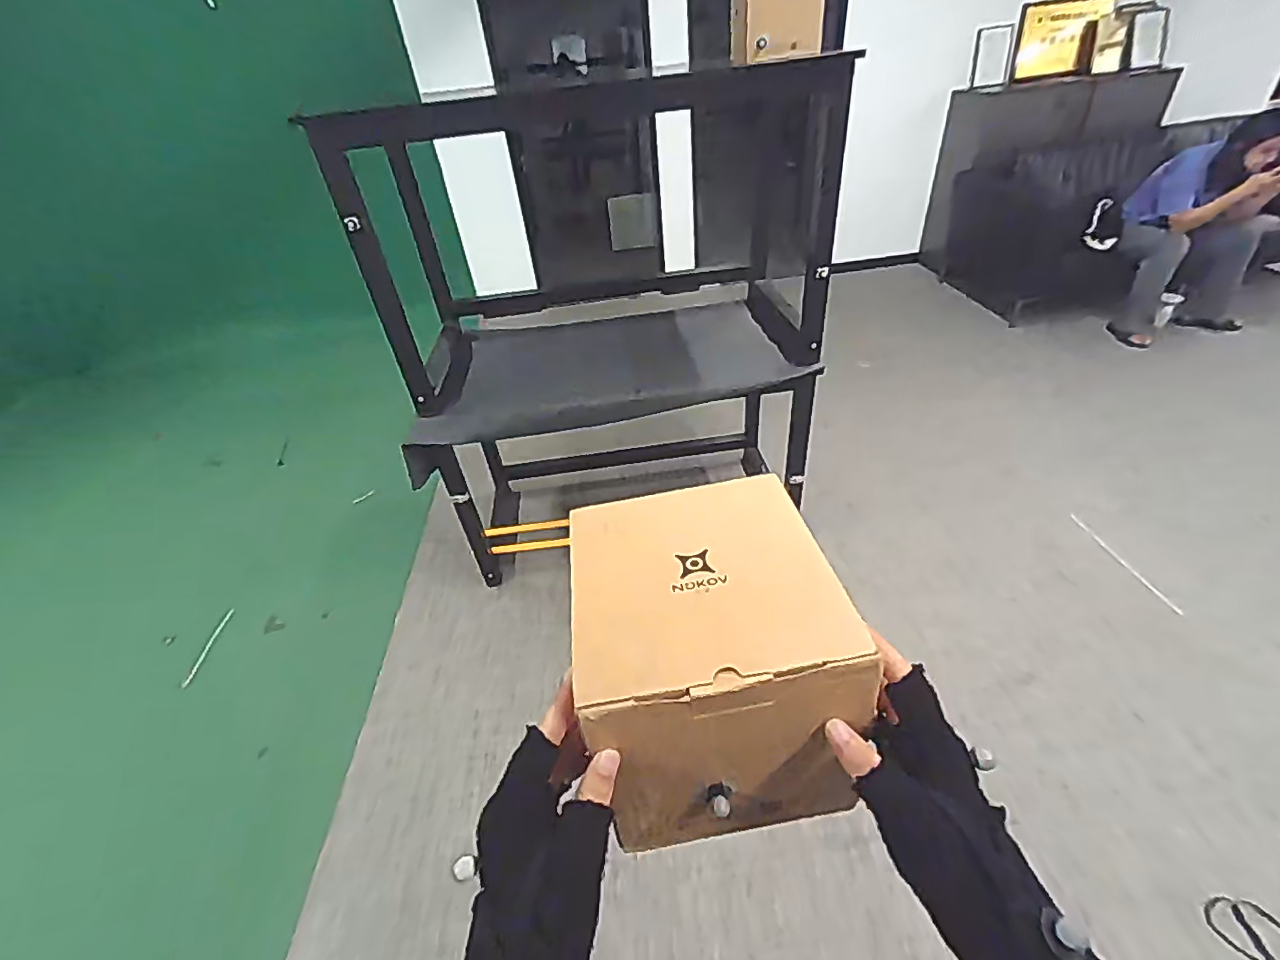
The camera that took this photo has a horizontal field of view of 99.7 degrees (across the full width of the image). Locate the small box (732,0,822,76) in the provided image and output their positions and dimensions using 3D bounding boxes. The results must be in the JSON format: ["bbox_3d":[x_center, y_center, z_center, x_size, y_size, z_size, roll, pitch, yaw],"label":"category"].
[{"bbox_3d":[0.306,-1.028,1.219,0.168,0.176,0.179,-6,36,1],"label":"small box"}]

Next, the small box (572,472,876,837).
[{"bbox_3d":[0.046,0.119,0.396,0.168,0.176,0.179,-10,34,-1],"label":"small box"}]
